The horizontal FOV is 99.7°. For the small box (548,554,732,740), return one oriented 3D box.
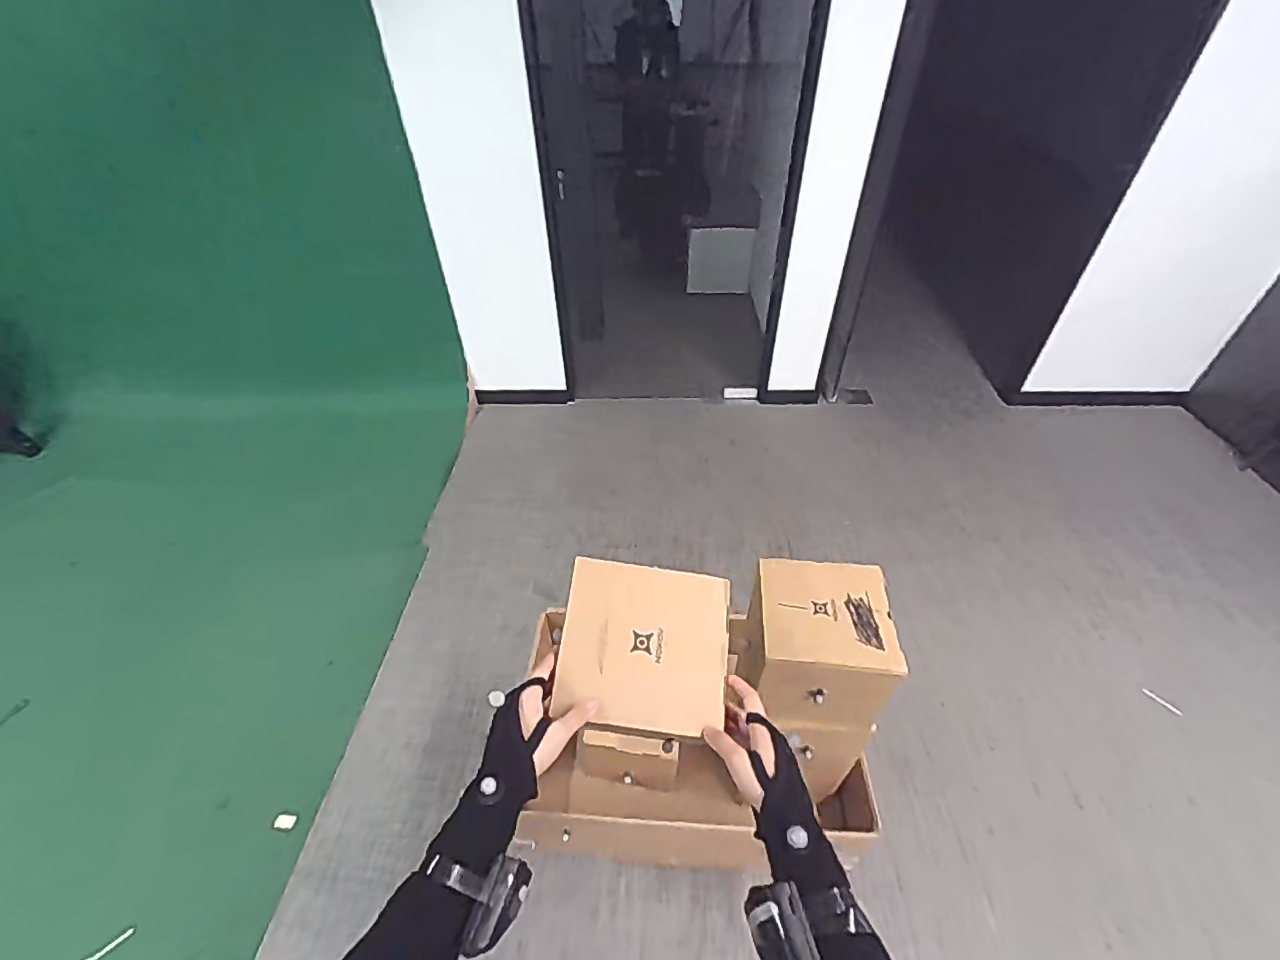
[{"bbox_3d":[-0.002,0.200,0.630,0.179,0.176,0.168,9,63,-2],"label":"small box"}]

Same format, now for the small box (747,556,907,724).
[{"bbox_3d":[0.252,0.231,0.777,0.179,0.176,0.168,4,43,6],"label":"small box"}]
